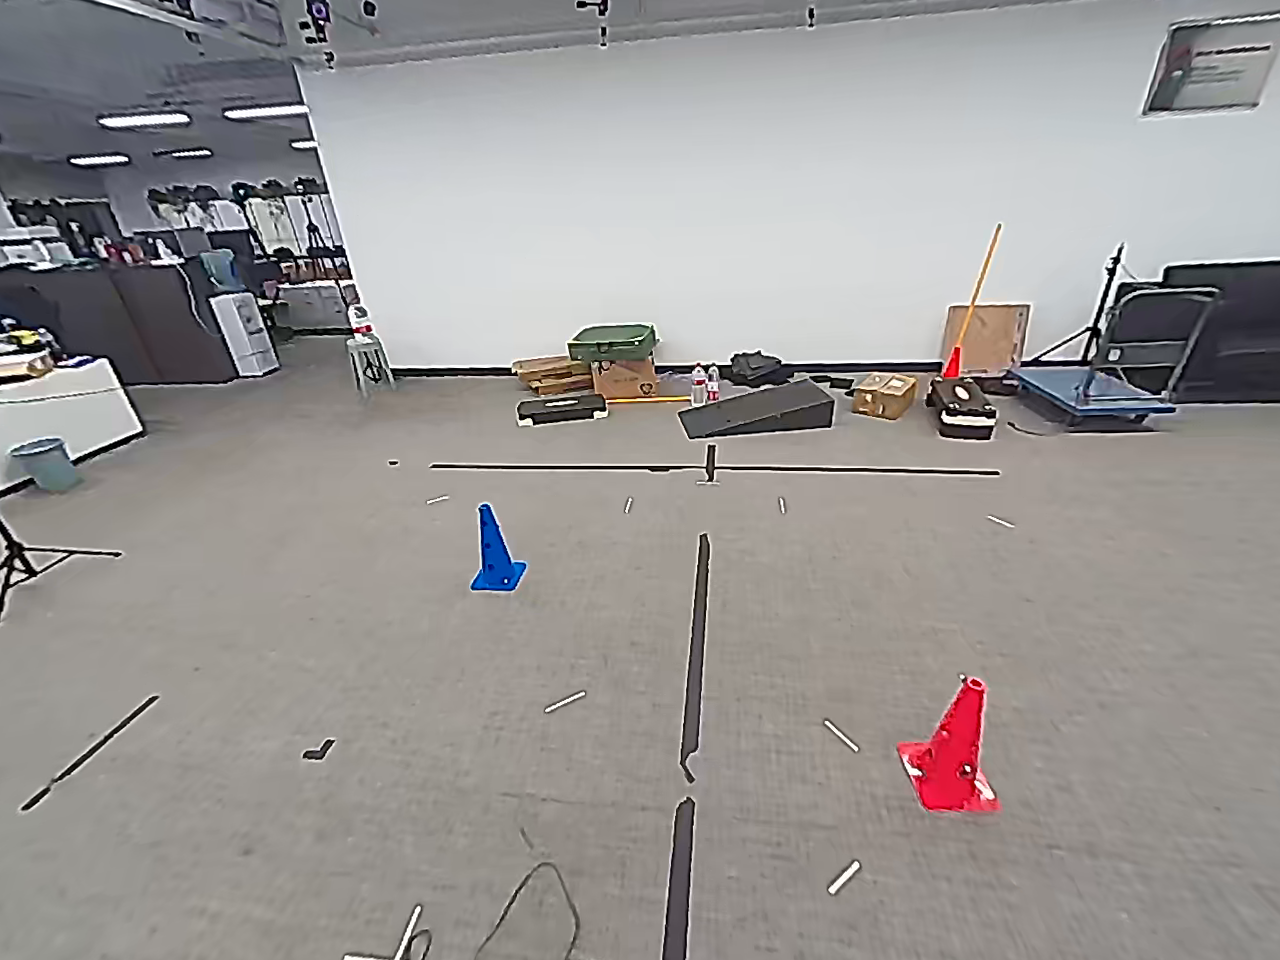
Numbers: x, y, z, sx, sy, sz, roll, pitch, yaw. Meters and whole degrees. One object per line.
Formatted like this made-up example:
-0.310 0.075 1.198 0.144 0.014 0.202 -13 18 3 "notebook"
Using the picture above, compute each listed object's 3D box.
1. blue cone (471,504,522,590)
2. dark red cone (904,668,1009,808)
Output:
-0.634 0.272 2.284 0.192 0.380 0.193 1 27 10 "blue cone"
0.830 0.632 1.374 0.201 0.394 0.202 -3 27 2 "dark red cone"
